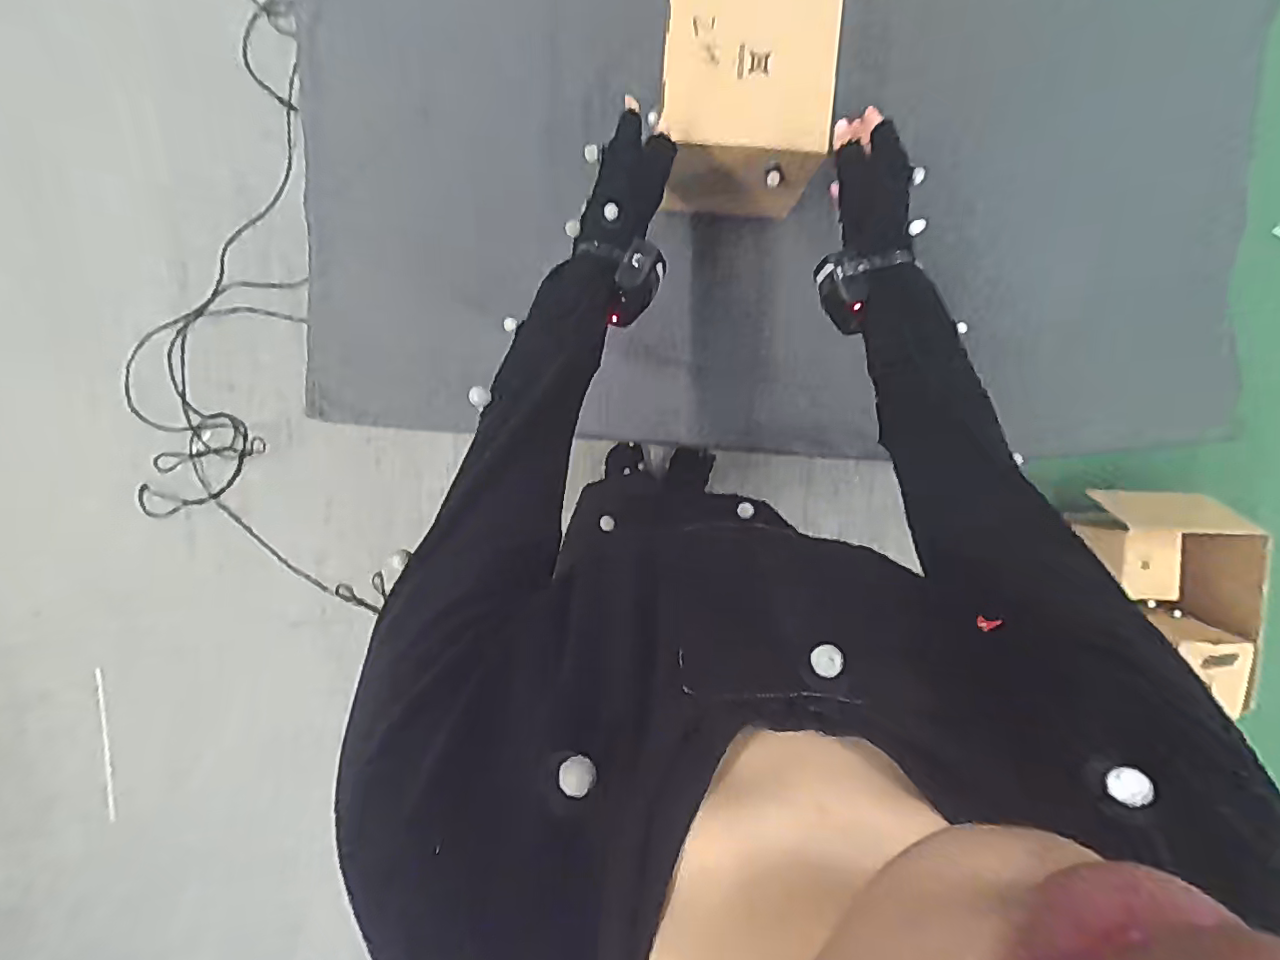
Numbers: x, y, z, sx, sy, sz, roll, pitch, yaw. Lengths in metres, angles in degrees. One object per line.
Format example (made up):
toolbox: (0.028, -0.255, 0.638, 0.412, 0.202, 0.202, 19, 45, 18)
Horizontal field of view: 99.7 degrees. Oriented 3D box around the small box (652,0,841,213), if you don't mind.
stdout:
small box: (0.109, -0.428, 0.624, 0.179, 0.176, 0.168, 5, 95, 0)
